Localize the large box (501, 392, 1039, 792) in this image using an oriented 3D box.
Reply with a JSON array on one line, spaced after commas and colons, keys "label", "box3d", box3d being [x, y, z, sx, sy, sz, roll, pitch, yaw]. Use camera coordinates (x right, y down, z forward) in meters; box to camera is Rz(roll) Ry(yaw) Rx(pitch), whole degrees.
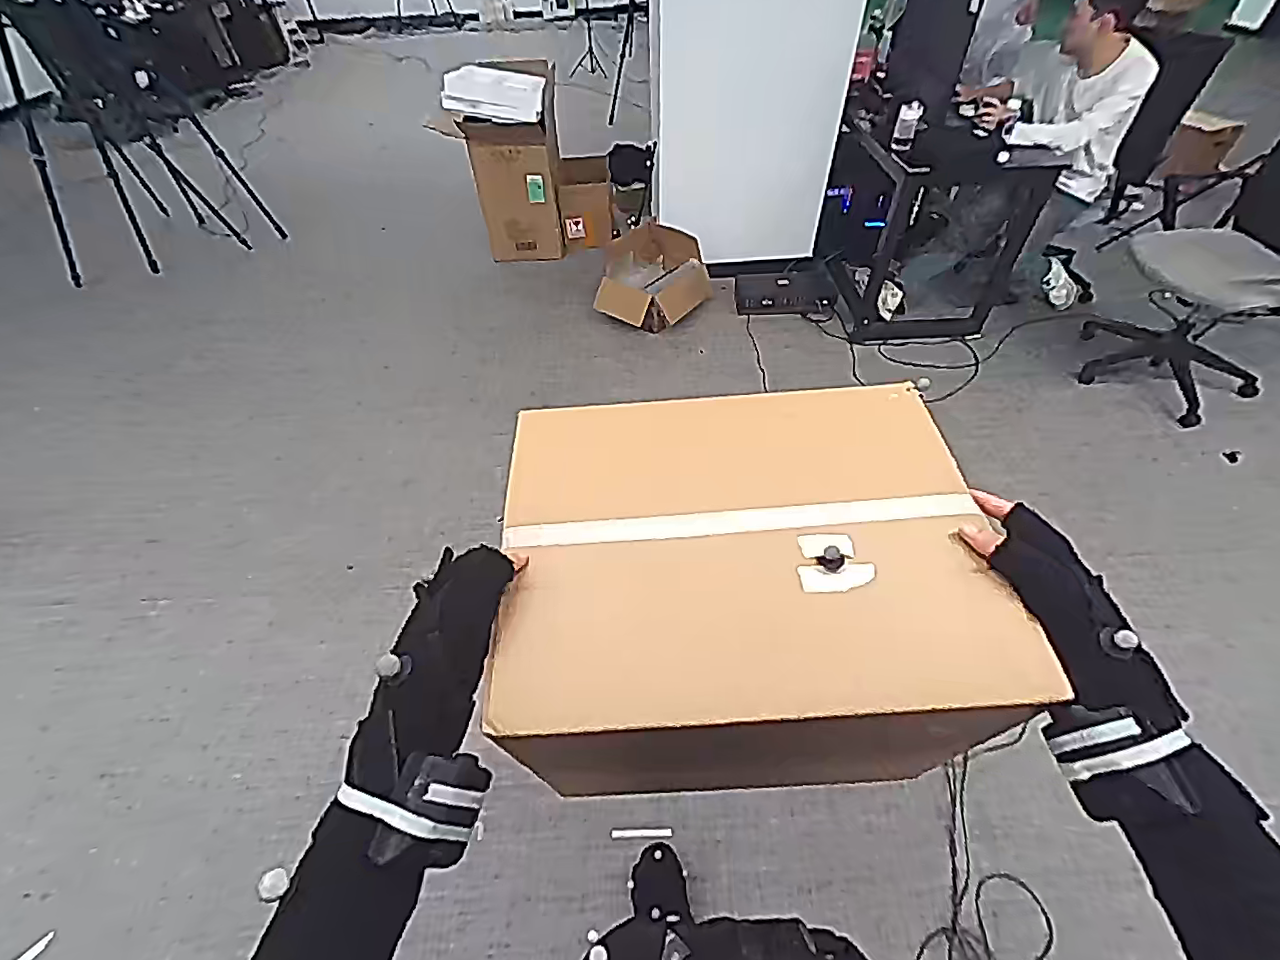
[{"label": "large box", "box3d": [0.092, 0.134, 0.599, 0.408, 0.320, 0.320, -4, 53, 1]}]
